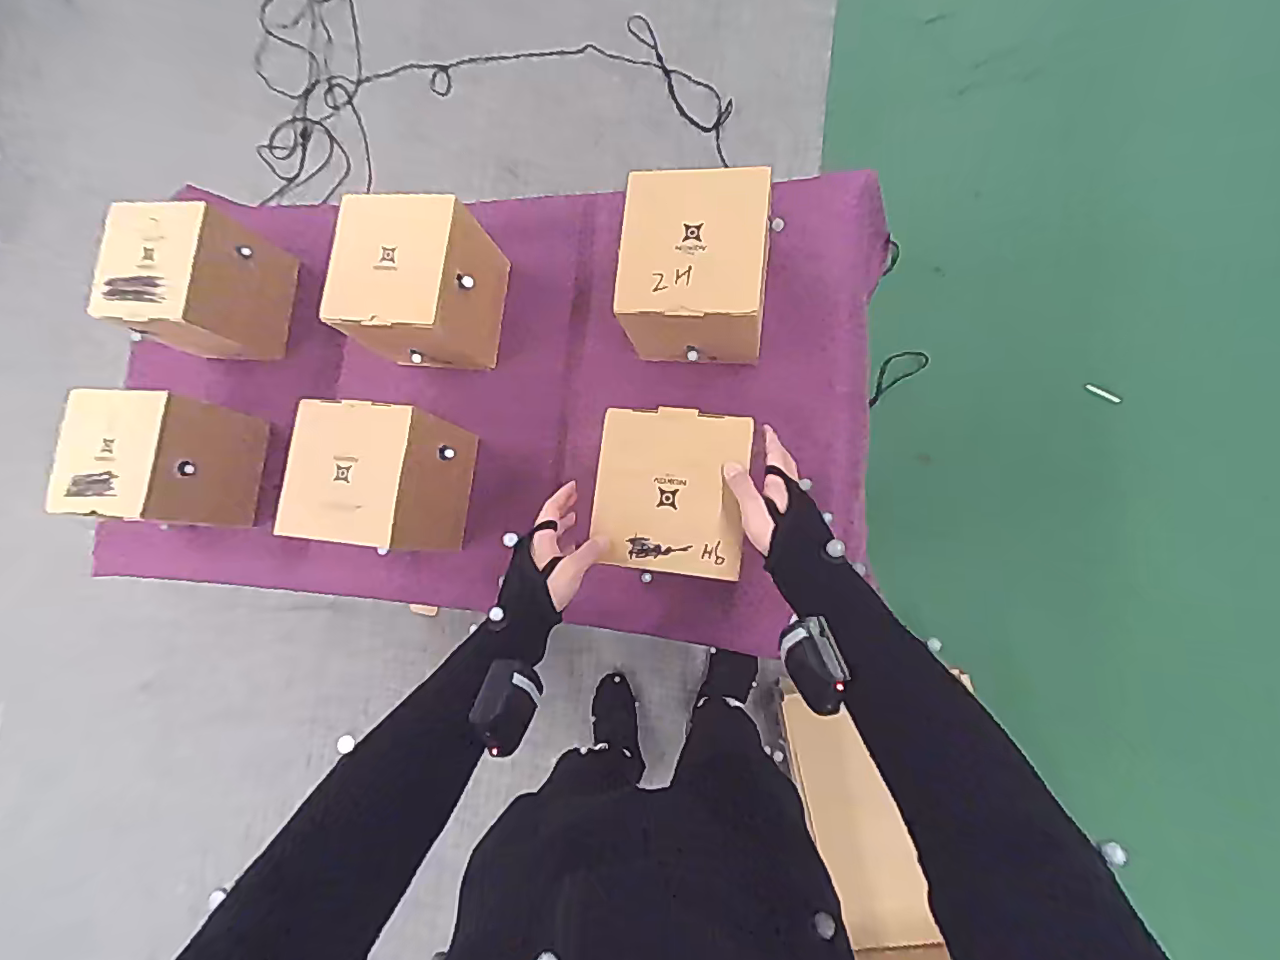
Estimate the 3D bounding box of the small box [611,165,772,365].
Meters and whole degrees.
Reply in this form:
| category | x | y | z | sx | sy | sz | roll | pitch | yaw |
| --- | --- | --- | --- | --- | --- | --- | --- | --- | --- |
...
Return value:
| category | x | y | z | sx | sy | sz | roll | pitch | yaw |
| --- | --- | --- | --- | --- | --- | --- | --- | --- | --- |
| small box | 0.073 | -0.259 | 0.680 | 0.168 | 0.176 | 0.179 | 5 | 84 | 14 |

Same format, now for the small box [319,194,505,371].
| category | x | y | z | sx | sy | sz | roll | pitch | yaw |
| --- | --- | --- | --- | --- | --- | --- | --- | --- | --- |
| small box | -0.305 | -0.269 | 0.760 | 0.168 | 0.176 | 0.179 | 6 | 85 | 11 |

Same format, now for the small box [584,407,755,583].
| category | x | y | z | sx | sy | sz | roll | pitch | yaw |
| --- | --- | --- | --- | --- | --- | --- | --- | --- | --- |
| small box | 0.045 | 0.025 | 0.648 | 0.168 | 0.176 | 0.179 | 6 | 82 | 13 |

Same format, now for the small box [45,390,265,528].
| category | x | y | z | sx | sy | sz | roll | pitch | yaw |
| --- | --- | --- | --- | --- | --- | --- | --- | --- | --- |
| small box | -0.701 | -0.024 | 0.801 | 0.168 | 0.176 | 0.179 | 3 | 81 | 11 |

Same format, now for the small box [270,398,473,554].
| category | x | y | z | sx | sy | sz | roll | pitch | yaw |
| --- | --- | --- | --- | --- | --- | --- | --- | --- | --- |
| small box | -0.346 | 0.002 | 0.730 | 0.168 | 0.176 | 0.179 | 6 | 83 | 13 |
